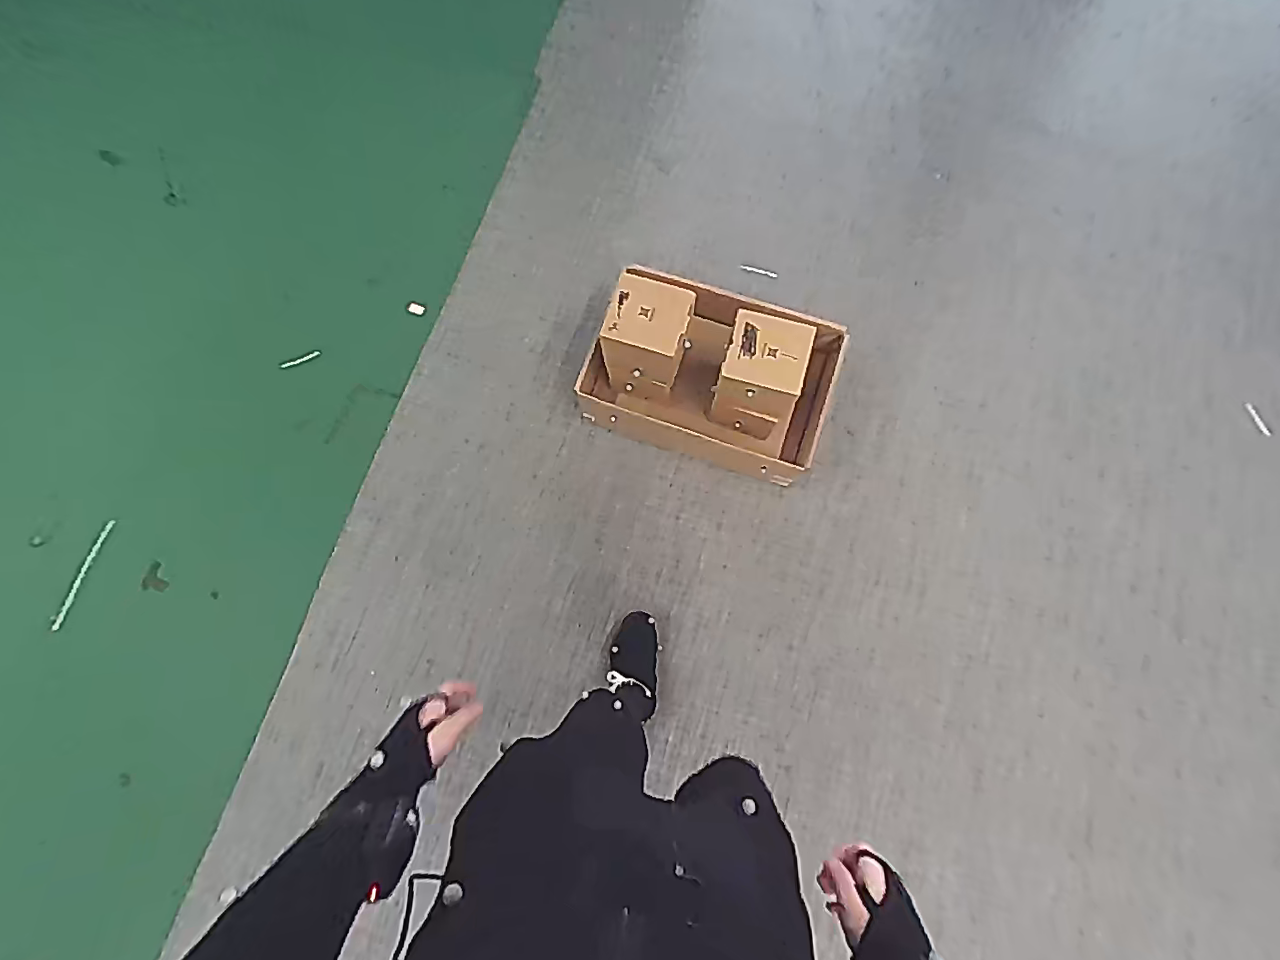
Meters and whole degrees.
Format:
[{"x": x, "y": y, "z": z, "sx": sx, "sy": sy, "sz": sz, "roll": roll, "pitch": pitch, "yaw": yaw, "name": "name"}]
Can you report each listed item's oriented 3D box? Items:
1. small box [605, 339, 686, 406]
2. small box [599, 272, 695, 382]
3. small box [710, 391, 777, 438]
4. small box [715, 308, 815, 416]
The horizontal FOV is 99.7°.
[{"x": 0.020, "y": -0.318, "z": 1.432, "sx": 0.168, "sy": 0.176, "sz": 0.179, "roll": 19, "pitch": 78, "yaw": 5, "name": "small box"}, {"x": 0.017, "y": -0.349, "z": 1.271, "sx": 0.179, "sy": 0.176, "sz": 0.168, "roll": 18, "pitch": 78, "yaw": 5, "name": "small box"}, {"x": 0.285, "y": -0.227, "z": 1.403, "sx": 0.168, "sy": 0.176, "sz": 0.179, "roll": 20, "pitch": 79, "yaw": 6, "name": "small box"}, {"x": 0.278, "y": -0.263, "z": 1.242, "sx": 0.179, "sy": 0.176, "sz": 0.168, "roll": 16, "pitch": 80, "yaw": 5, "name": "small box"}]
